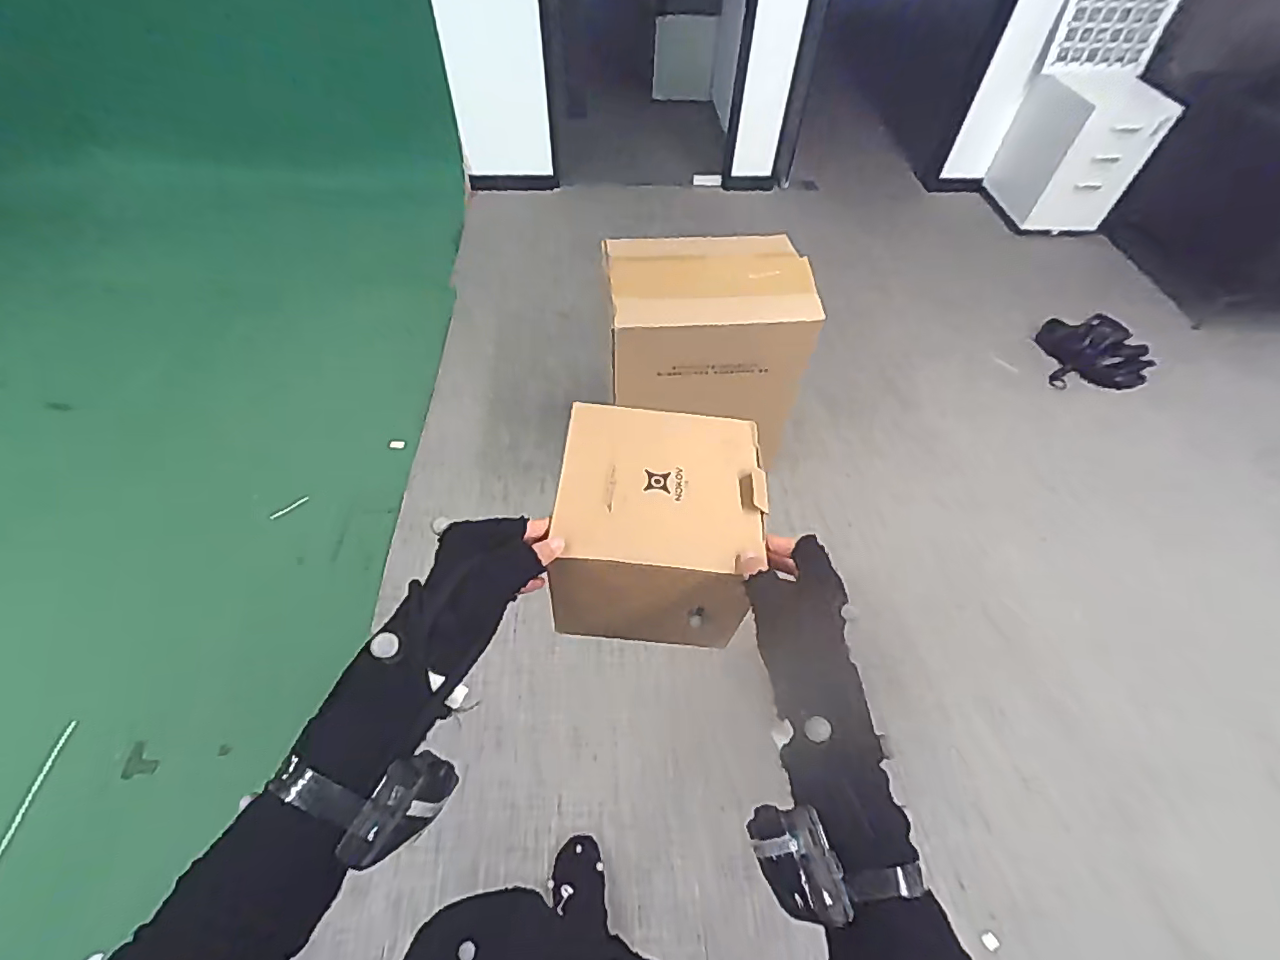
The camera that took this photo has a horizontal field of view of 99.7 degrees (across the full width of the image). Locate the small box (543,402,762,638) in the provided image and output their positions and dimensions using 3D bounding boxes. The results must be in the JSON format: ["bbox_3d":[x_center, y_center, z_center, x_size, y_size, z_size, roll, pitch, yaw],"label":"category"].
[{"bbox_3d":[0.010,0.046,0.535,0.179,0.176,0.168,4,53,-1],"label":"small box"}]
